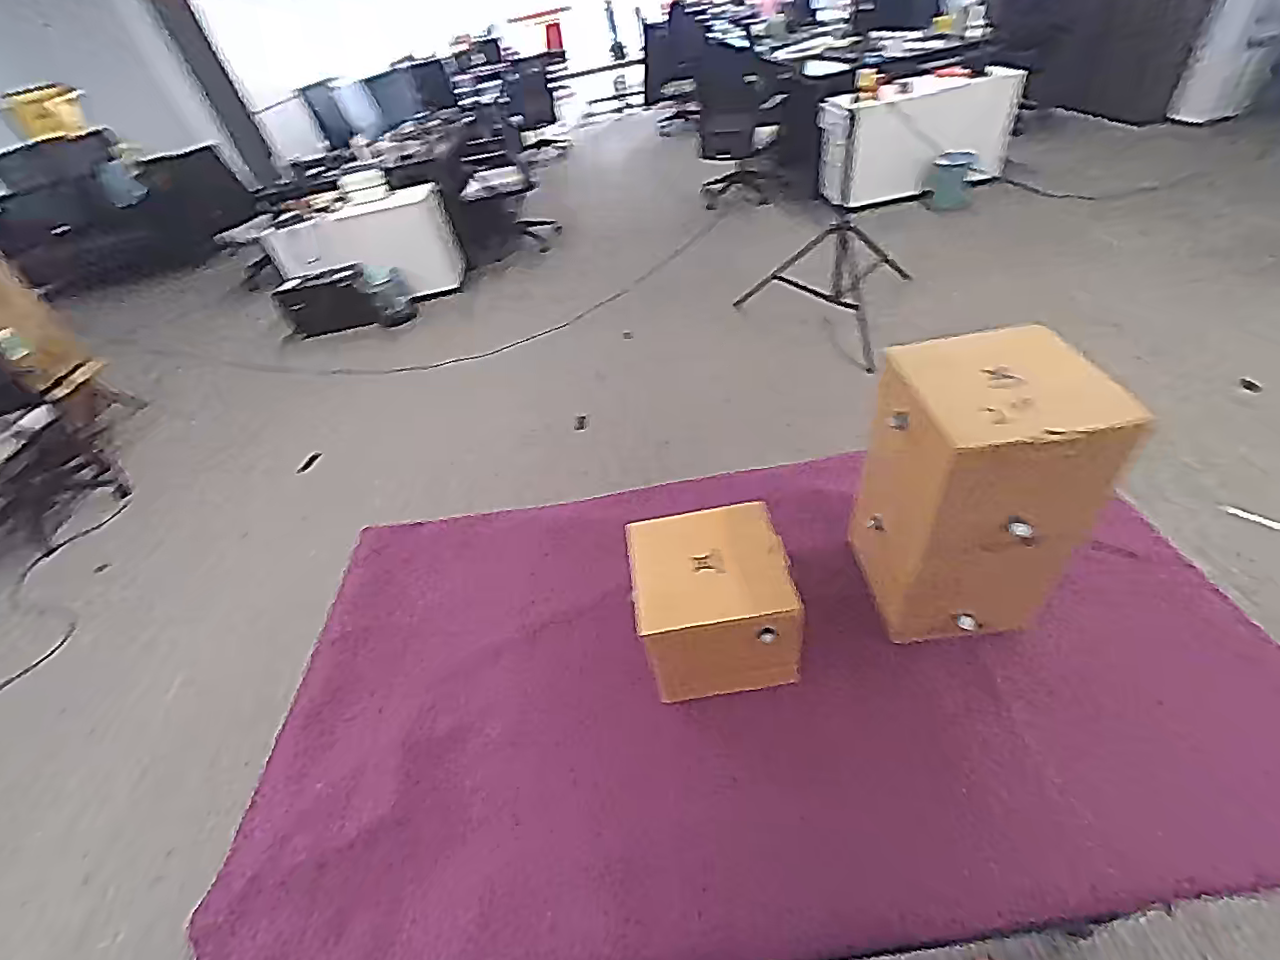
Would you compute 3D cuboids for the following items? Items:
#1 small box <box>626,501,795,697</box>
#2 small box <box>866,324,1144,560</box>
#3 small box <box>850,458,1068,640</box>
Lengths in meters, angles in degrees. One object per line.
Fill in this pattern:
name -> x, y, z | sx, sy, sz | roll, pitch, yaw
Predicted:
small box -> 0.087, 0.154, 0.684 | 0.179, 0.176, 0.168 | -10, 42, 2
small box -> 0.357, -0.040, 0.578 | 0.168, 0.176, 0.179 | -9, 43, 5
small box -> 0.381, 0.078, 0.690 | 0.168, 0.176, 0.179 | -8, 43, 5
